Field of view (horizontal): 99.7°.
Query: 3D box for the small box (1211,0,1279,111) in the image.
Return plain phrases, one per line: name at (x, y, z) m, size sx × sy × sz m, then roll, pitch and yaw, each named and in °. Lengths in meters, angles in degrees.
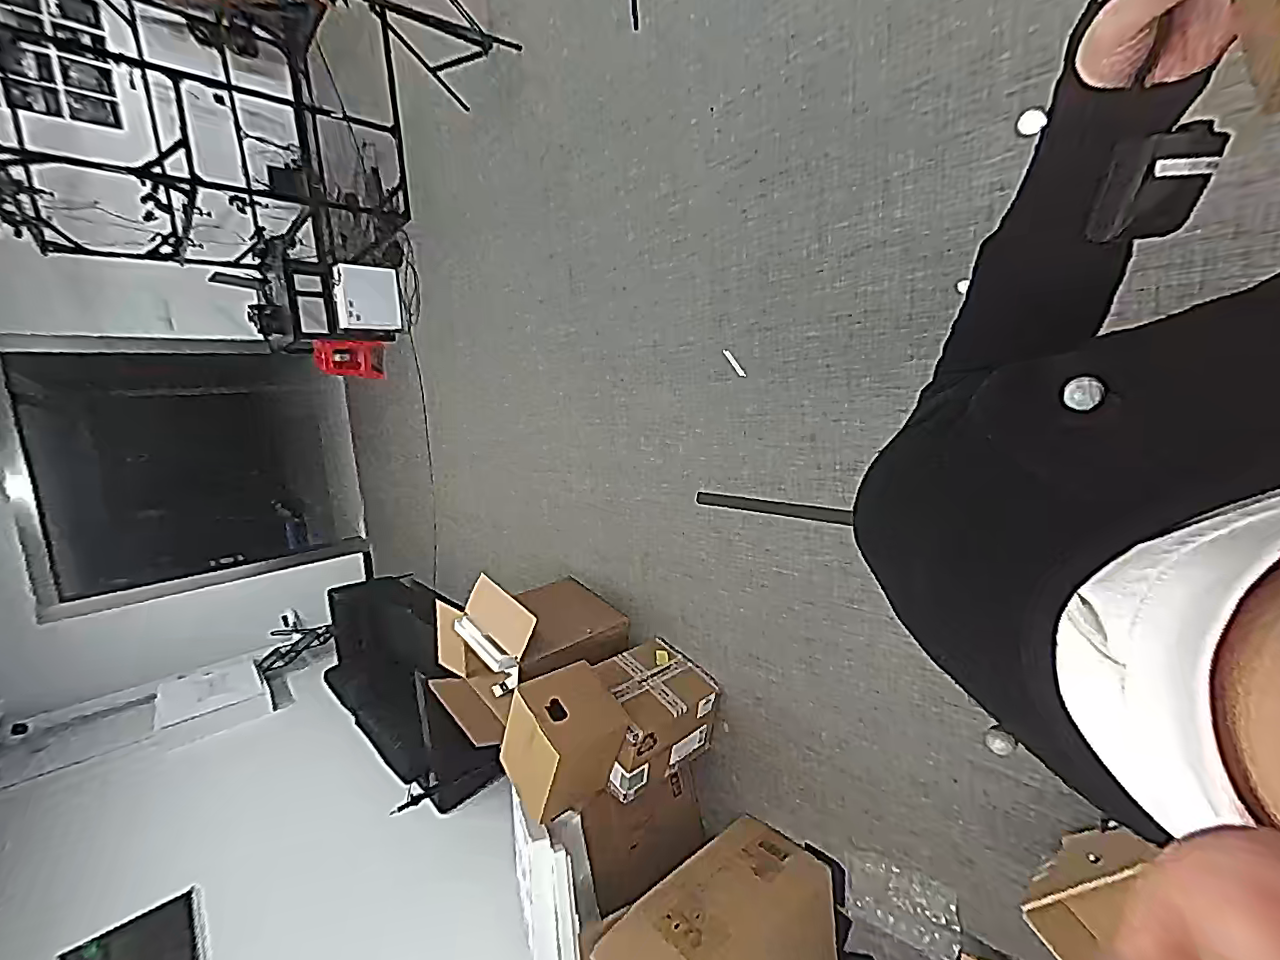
small box at (0.290, -0.254, 0.161) m, size 0.179 × 0.176 × 0.168 m, roll -16°, pitch 94°, yaw 50°
